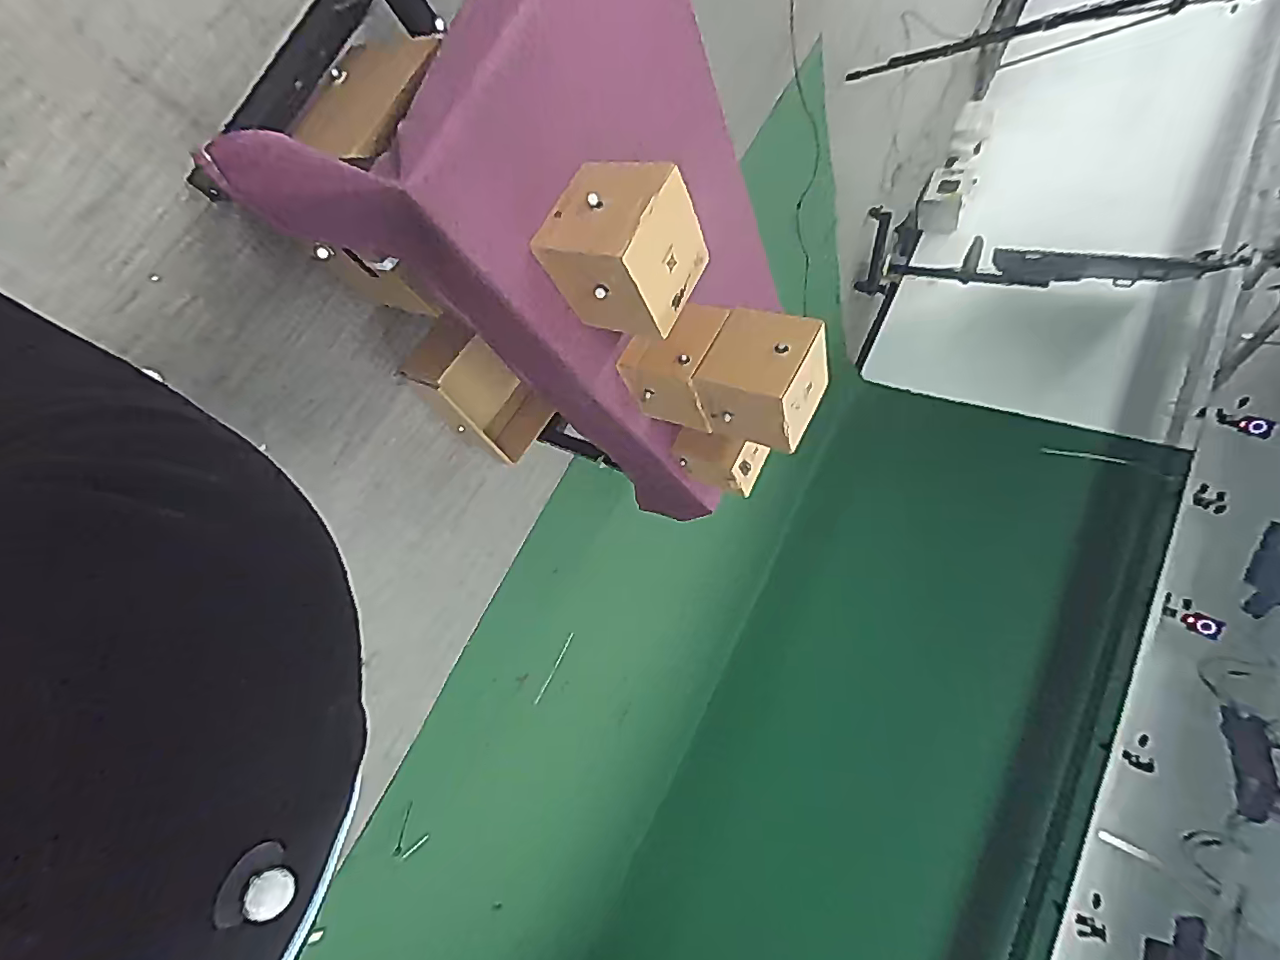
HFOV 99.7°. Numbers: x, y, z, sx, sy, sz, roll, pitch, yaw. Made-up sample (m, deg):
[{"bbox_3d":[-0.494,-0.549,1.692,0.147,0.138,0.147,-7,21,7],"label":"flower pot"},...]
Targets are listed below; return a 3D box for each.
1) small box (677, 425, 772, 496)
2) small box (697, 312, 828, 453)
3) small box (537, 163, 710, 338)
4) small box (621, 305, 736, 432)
[{"bbox_3d":[0.208,-0.089,1.331,0.179,0.176,0.168,-62,148,-13],"label":"small box"},{"bbox_3d":[0.226,-0.181,0.985,0.179,0.176,0.168,-58,147,-17],"label":"small box"},{"bbox_3d":[-0.023,-0.342,0.815,0.168,0.176,0.179,-61,148,-12],"label":"small box"},{"bbox_3d":[0.089,-0.227,1.066,0.179,0.176,0.168,-59,148,-16],"label":"small box"}]
